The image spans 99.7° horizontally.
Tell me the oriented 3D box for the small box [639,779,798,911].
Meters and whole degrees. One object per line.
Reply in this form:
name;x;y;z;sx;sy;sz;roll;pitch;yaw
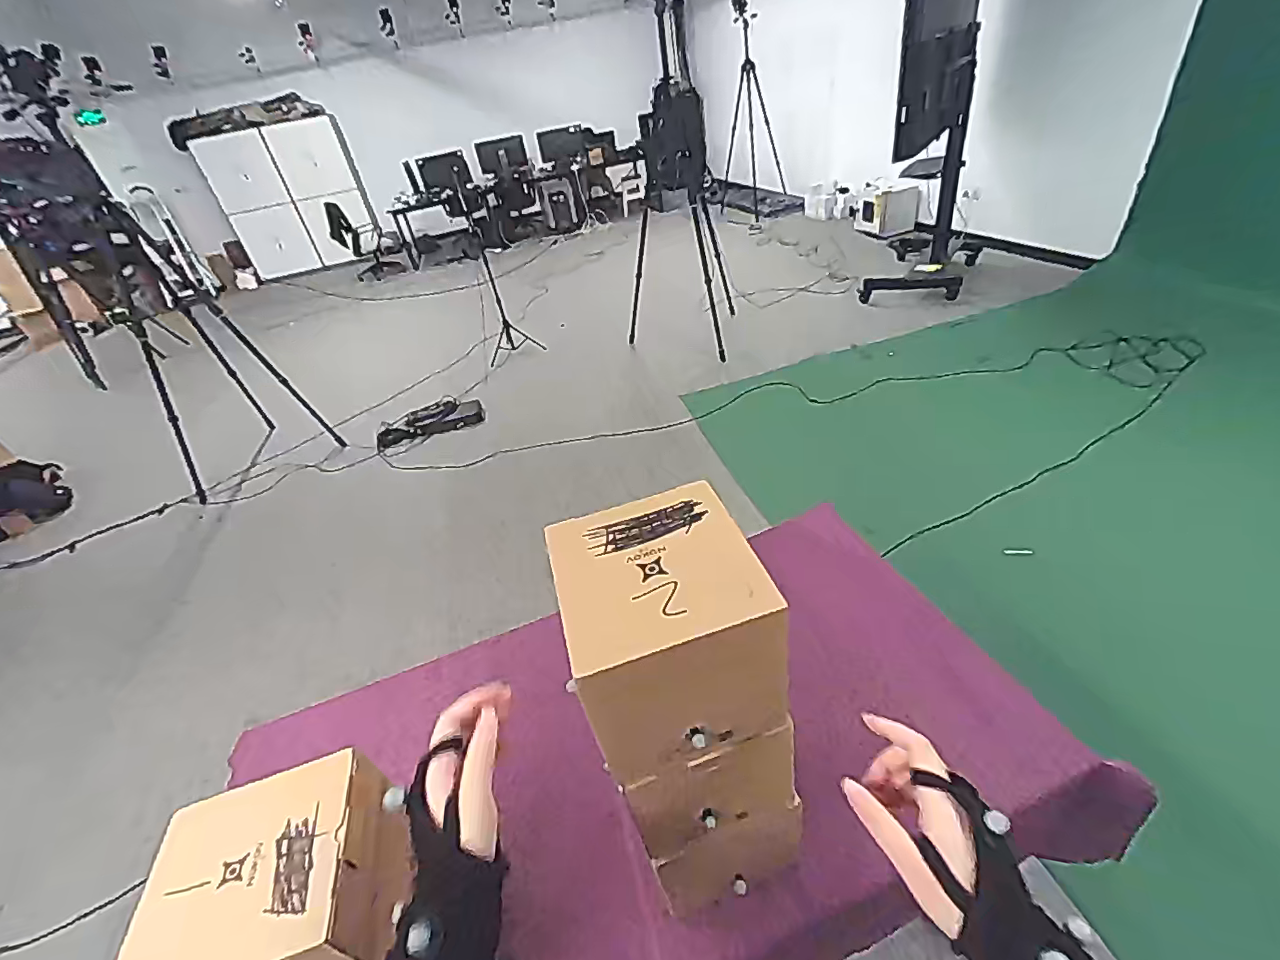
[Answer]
small box;0.081;0.400;0.690;0.179;0.176;0.168;-17;36;-9

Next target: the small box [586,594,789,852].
small box;0.050;0.265;0.603;0.168;0.176;0.179;-18;37;-8

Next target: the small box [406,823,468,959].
small box;-0.310;0.538;0.612;0.179;0.176;0.168;-17;37;-8

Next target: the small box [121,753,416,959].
small box;-0.332;0.406;0.519;0.179;0.176;0.168;-18;37;-8
